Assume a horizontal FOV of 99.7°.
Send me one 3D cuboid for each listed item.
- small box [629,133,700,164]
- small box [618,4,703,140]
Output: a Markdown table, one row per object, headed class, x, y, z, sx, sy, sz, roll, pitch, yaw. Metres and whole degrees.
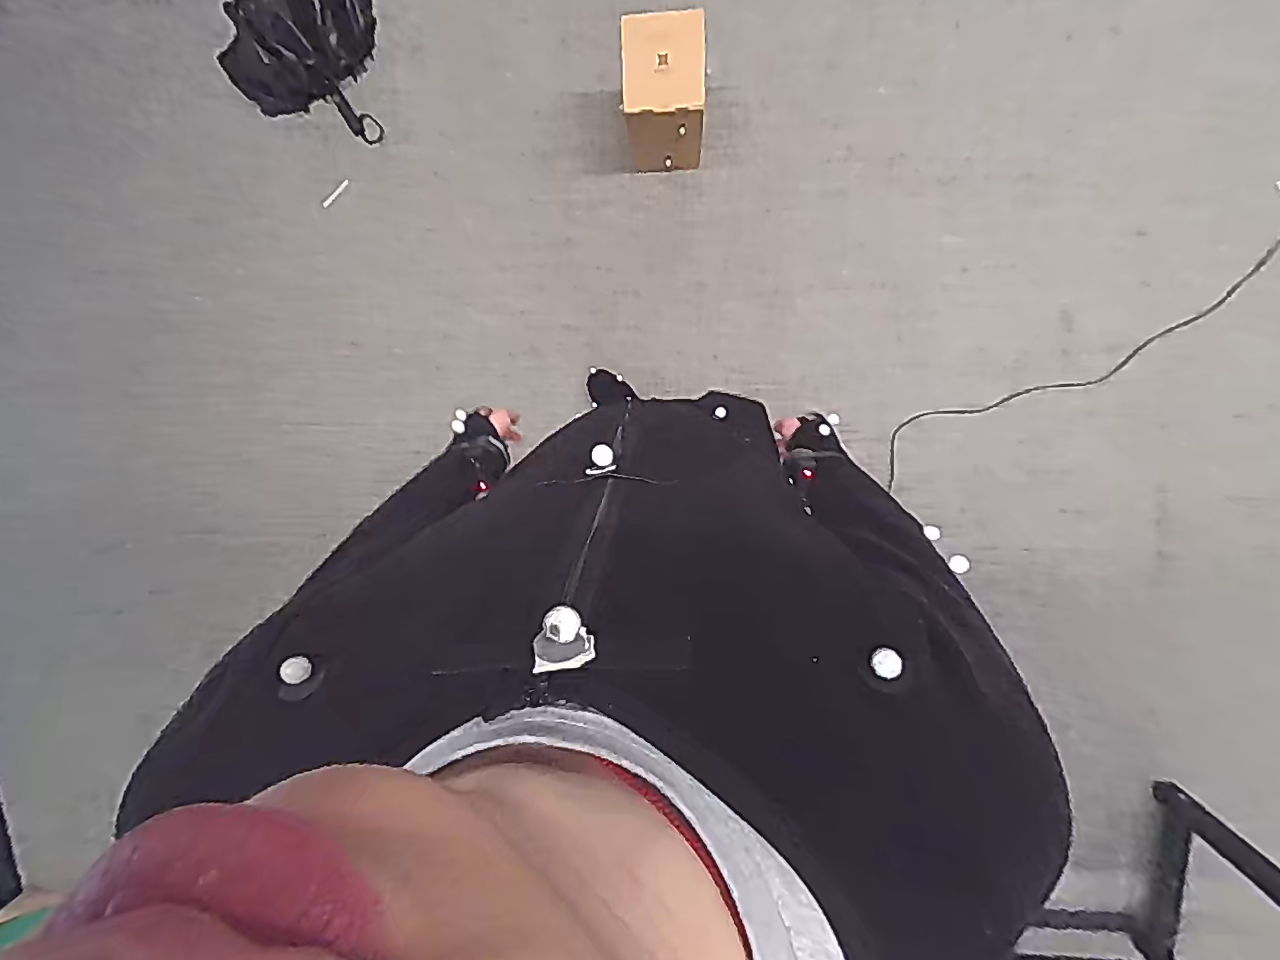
| class | x | y | z | sx | sy | sz | roll | pitch | yaw |
| --- | --- | --- | --- | --- | --- | --- | --- | --- | --- |
| small box | 0.060 | -0.873 | 1.286 | 0.168 | 0.176 | 0.179 | -2 | 103 | 6 |
| small box | 0.047 | -0.835 | 1.128 | 0.168 | 0.176 | 0.179 | -2 | 101 | 4 |
